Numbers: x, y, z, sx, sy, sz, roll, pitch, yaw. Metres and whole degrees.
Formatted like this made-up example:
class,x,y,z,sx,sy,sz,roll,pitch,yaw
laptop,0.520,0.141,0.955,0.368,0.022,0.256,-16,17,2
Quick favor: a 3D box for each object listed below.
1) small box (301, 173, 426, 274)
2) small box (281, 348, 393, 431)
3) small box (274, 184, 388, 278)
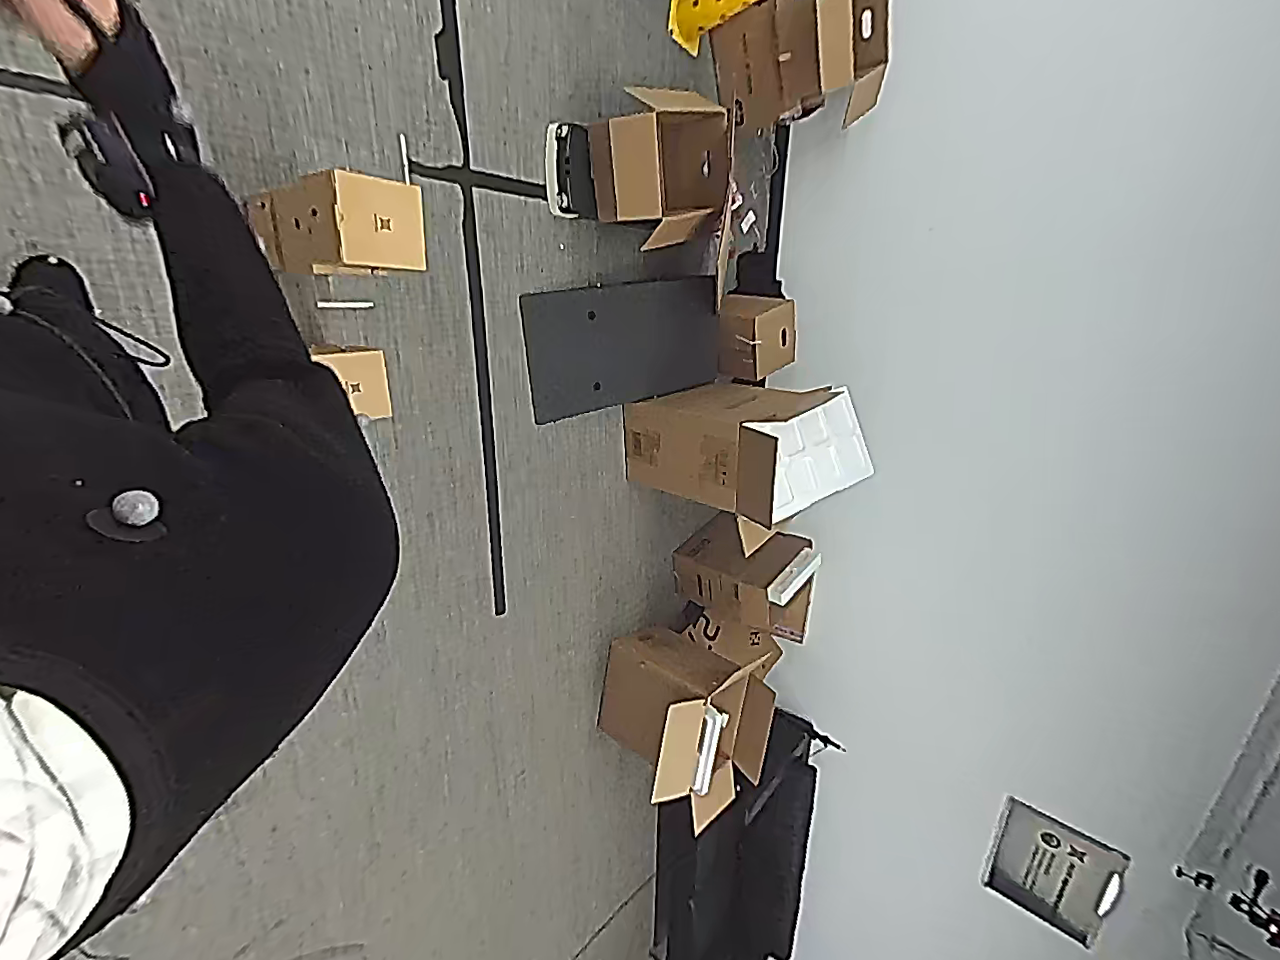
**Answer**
class,x,y,z,sx,sy,sz,roll,pitch,yaw
small box,-0.574,-0.527,1.128,0.179,0.176,0.168,-17,117,-46
small box,-0.735,-0.227,1.314,0.179,0.176,0.168,-21,118,-45
small box,-0.701,-0.554,1.226,0.168,0.176,0.179,-20,120,-46
